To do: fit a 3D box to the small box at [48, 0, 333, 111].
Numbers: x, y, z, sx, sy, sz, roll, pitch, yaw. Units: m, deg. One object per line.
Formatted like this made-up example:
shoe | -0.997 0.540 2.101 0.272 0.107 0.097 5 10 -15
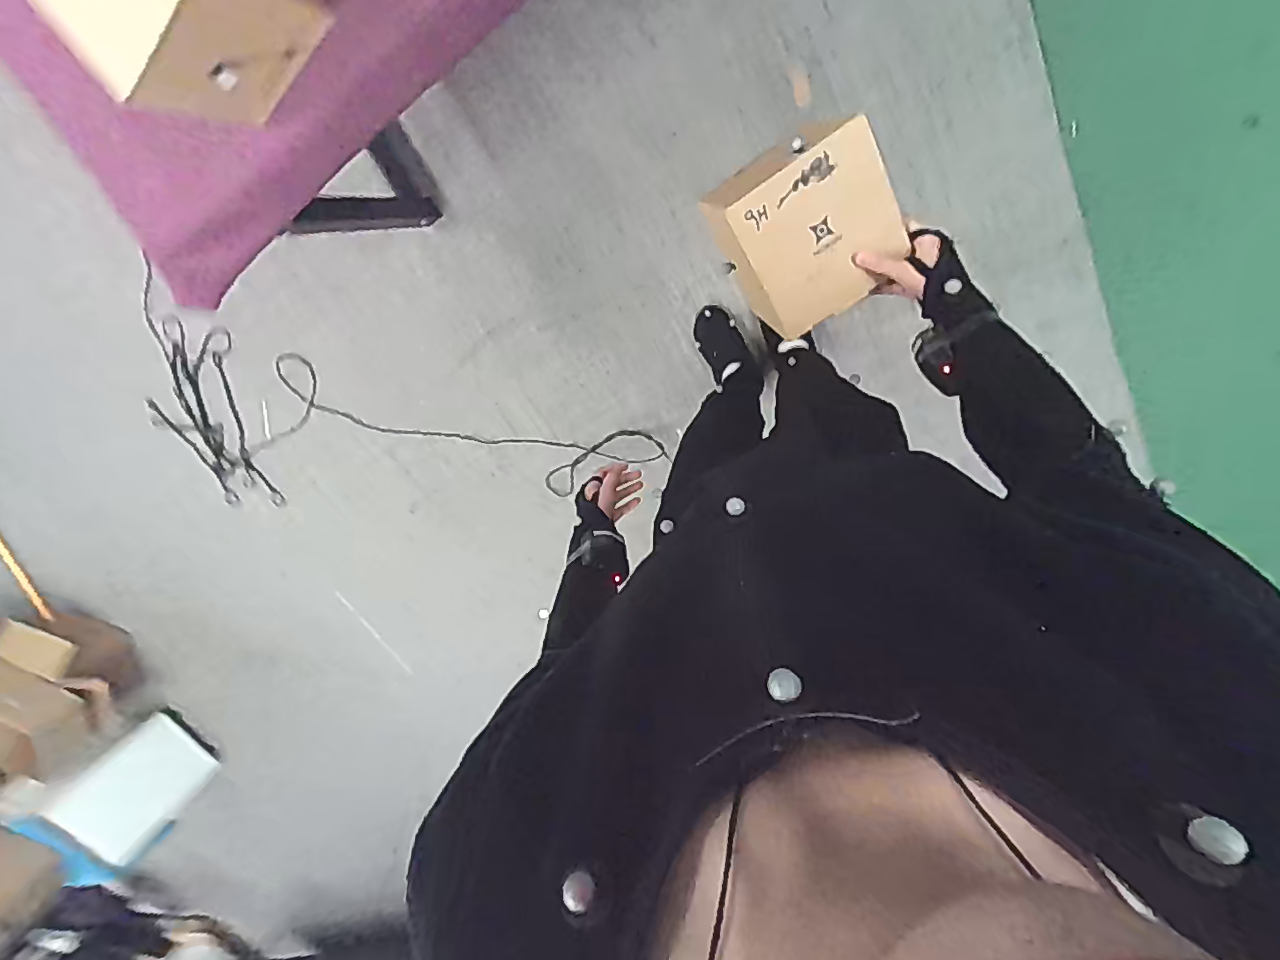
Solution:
small box | -0.457 -0.506 0.537 0.168 0.176 0.179 -30 105 24
